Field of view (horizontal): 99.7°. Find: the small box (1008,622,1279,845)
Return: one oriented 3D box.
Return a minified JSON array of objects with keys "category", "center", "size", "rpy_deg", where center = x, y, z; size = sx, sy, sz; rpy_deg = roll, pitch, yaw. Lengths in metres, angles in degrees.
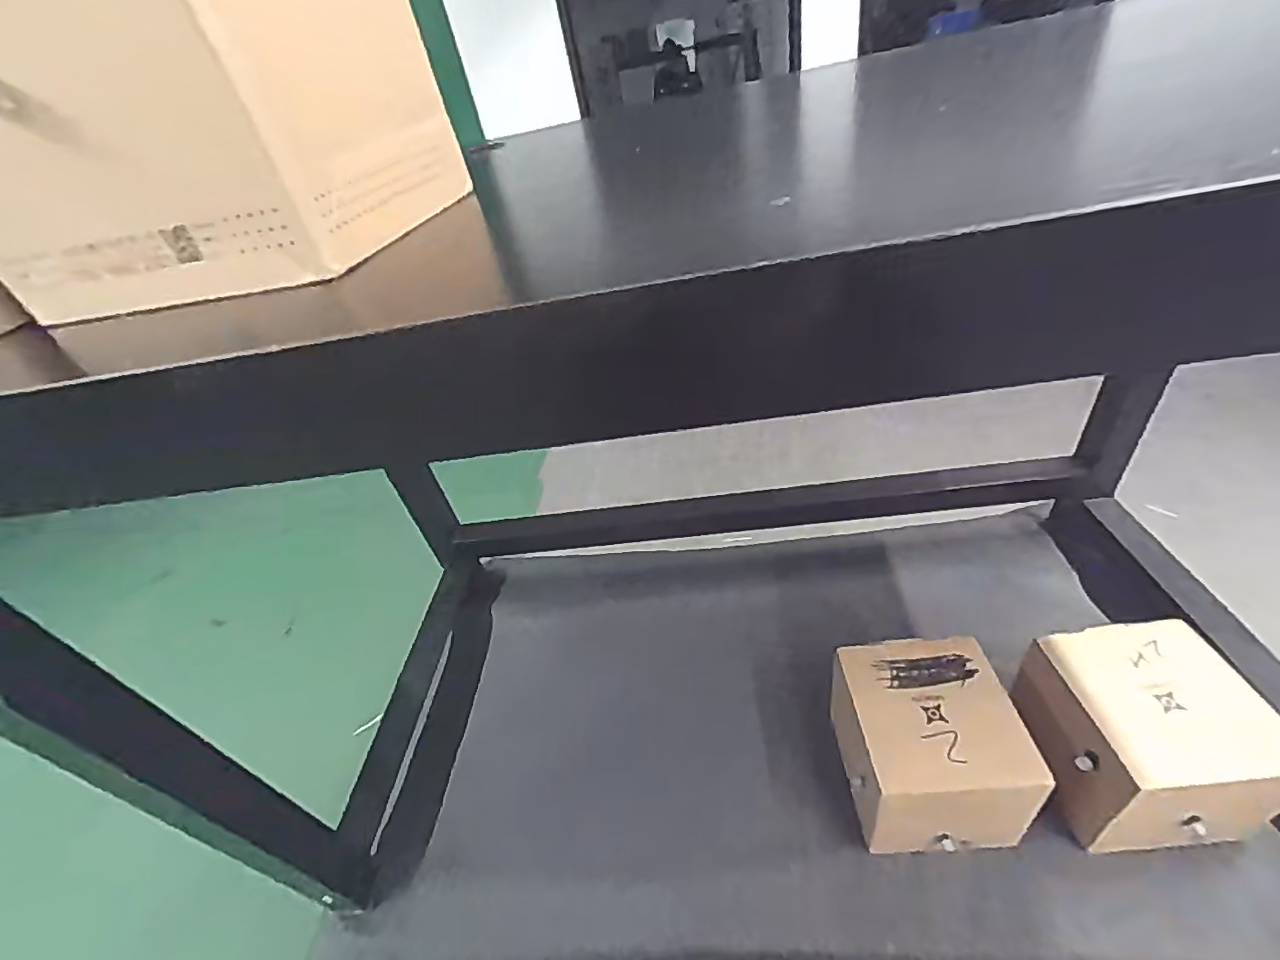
[{"category":"small box","center":[0.565,0.293,0.619],"size":[0.168,0.176,0.179],"rpy_deg":[-9,37,5]}]
